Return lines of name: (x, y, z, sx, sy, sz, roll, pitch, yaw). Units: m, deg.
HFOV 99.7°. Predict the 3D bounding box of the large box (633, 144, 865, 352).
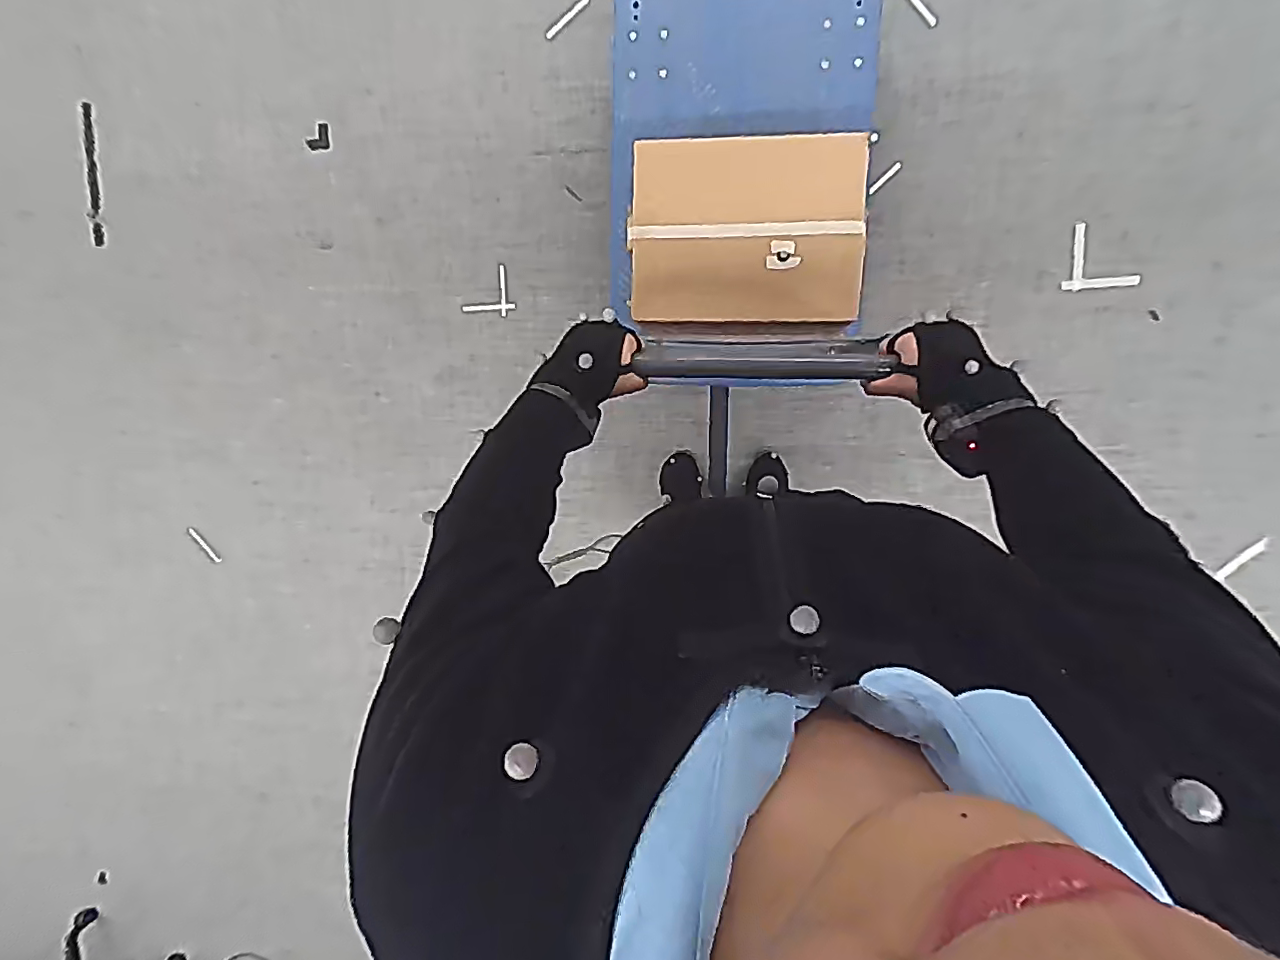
large box: (0.199, -0.438, 1.101, 0.408, 0.320, 0.320, 2, 97, 6)
